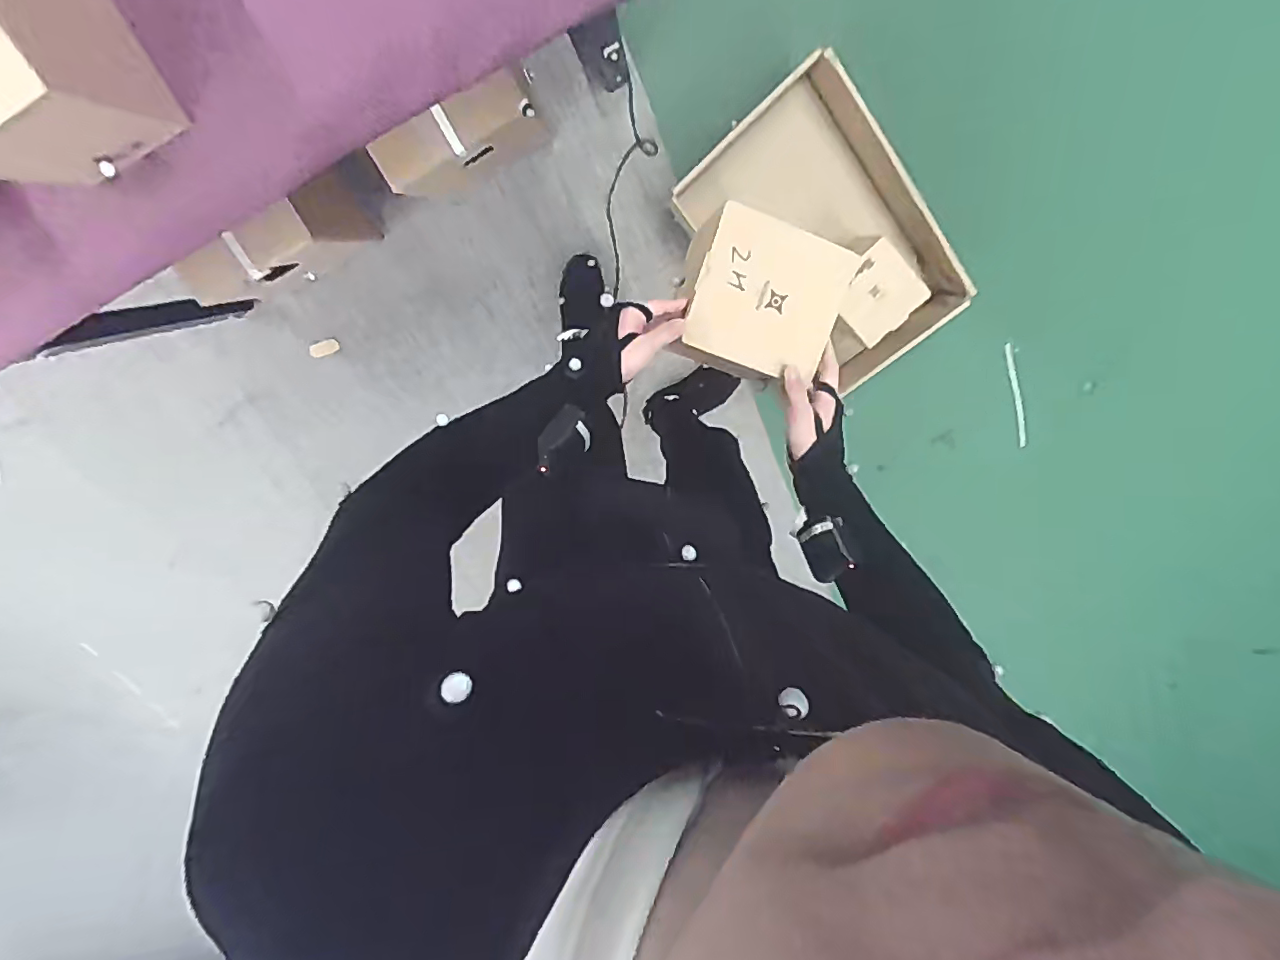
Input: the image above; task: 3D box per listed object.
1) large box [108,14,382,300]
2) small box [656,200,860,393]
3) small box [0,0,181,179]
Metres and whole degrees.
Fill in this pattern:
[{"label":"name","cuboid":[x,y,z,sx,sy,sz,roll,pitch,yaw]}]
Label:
[{"label":"large box","cuboid":[-0.866,-0.658,1.181,0.320,0.320,0.408,-22,111,11]},{"label":"small box","cuboid":[0.136,-0.222,0.690,0.179,0.176,0.168,18,99,-10]},{"label":"small box","cuboid":[-0.641,-0.433,0.546,0.168,0.176,0.179,-20,111,12]}]
